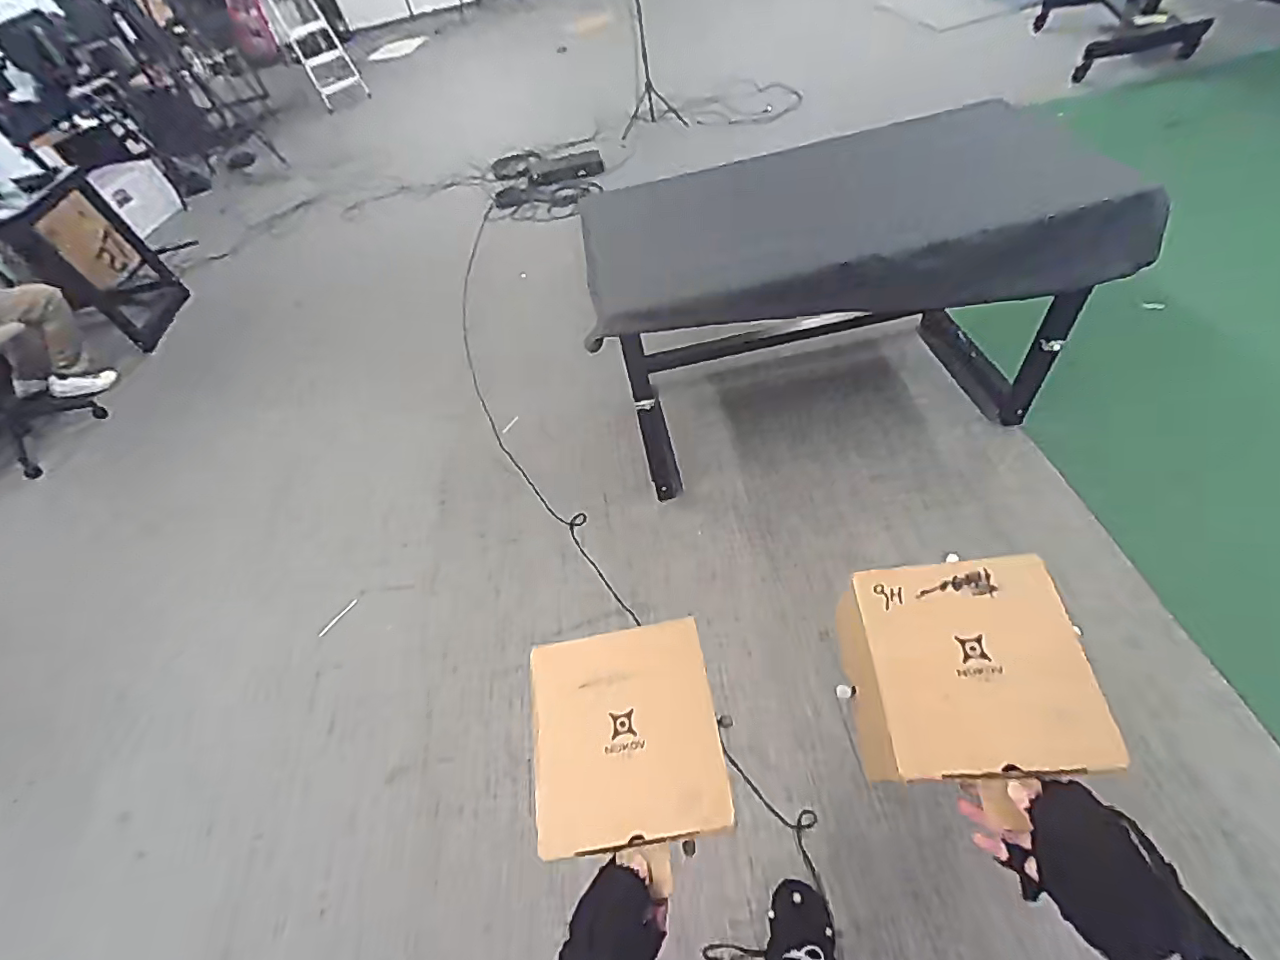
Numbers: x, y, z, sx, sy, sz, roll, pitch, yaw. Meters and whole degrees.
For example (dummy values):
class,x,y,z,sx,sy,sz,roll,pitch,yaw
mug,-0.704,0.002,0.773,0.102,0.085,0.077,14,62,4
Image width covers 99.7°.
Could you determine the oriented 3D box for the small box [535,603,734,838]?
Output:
class,x,y,z,sx,sy,sz,roll,pitch,yaw
small box,-0.002,0.248,0.556,0.168,0.176,0.179,-11,58,1
